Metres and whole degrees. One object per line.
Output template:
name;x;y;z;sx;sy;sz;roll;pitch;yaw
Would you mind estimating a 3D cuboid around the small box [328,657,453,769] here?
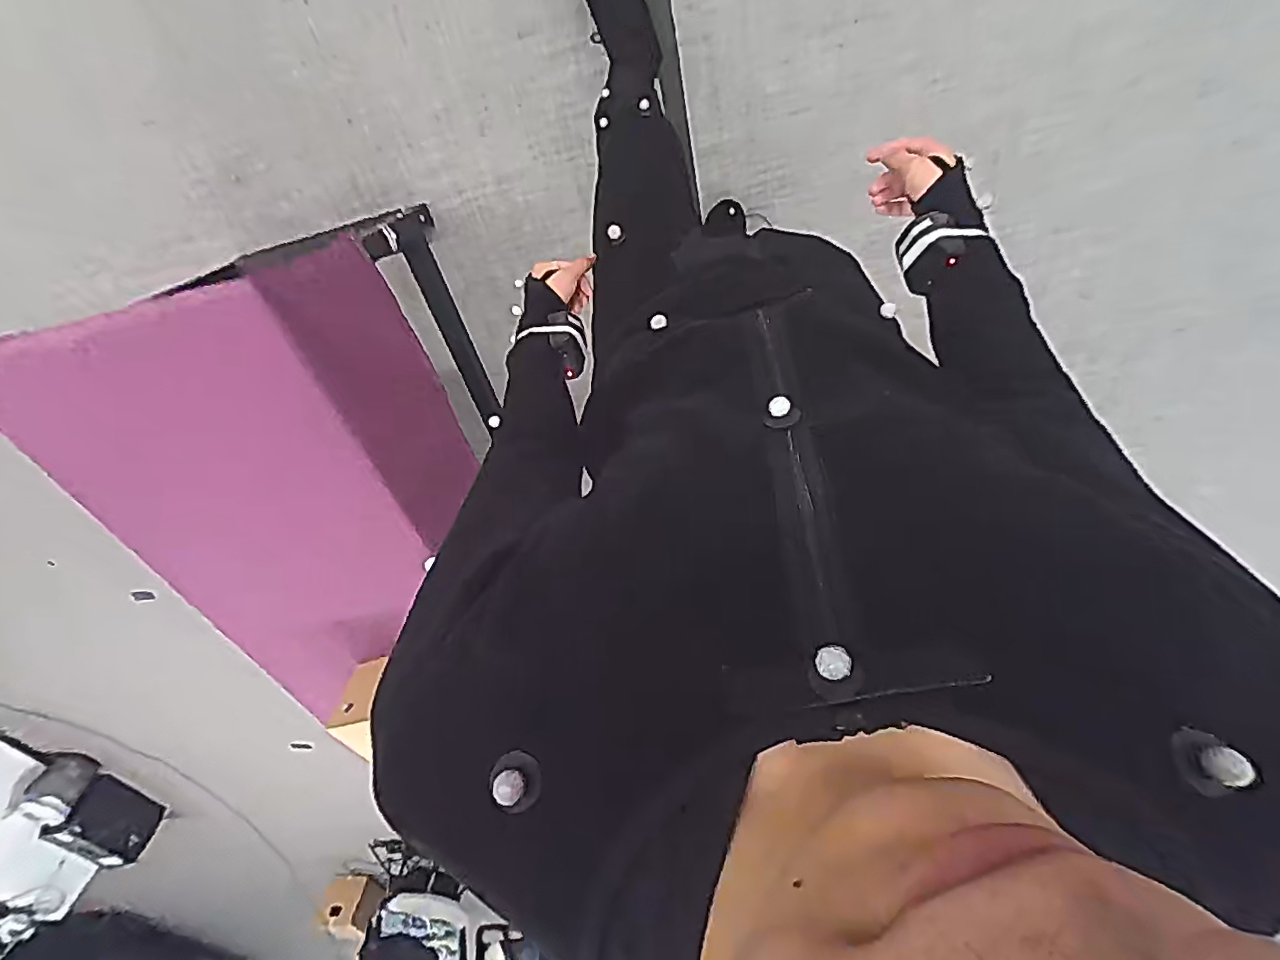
small box;-0.572;0.544;1.267;0.179;0.176;0.168;-18;124;15
